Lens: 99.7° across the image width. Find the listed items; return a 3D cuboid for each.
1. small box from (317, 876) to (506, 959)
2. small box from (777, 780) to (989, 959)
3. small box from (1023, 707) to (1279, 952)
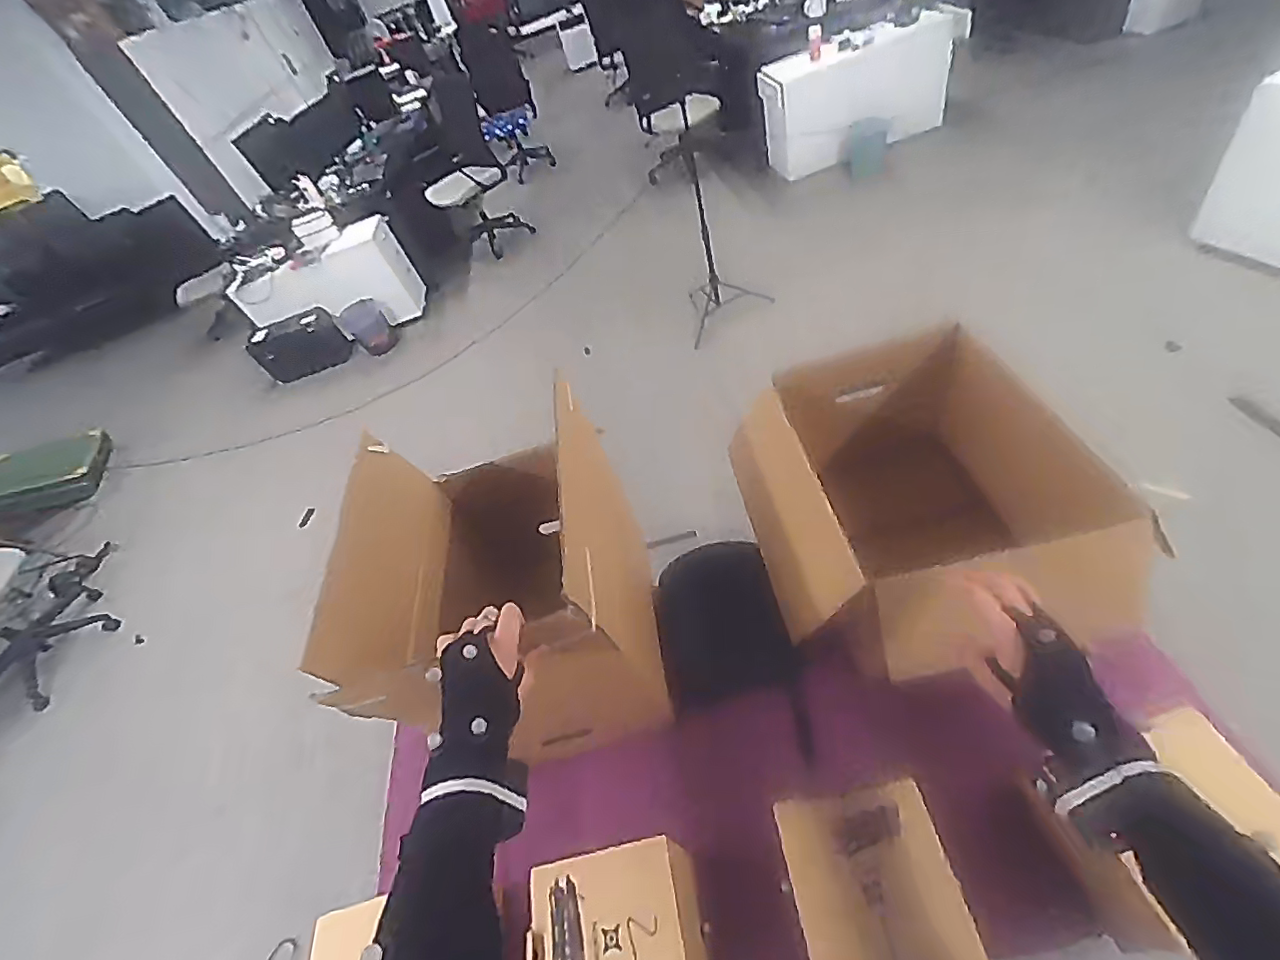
[{"bbox_3d":[-0.287,0.638,0.691,0.179,0.176,0.168,-19,46,2],"label":"small box"},{"bbox_3d":[0.266,0.475,0.625,0.168,0.176,0.179,-16,47,8],"label":"small box"},{"bbox_3d":[0.564,0.383,0.590,0.168,0.176,0.179,-21,46,4],"label":"small box"}]
